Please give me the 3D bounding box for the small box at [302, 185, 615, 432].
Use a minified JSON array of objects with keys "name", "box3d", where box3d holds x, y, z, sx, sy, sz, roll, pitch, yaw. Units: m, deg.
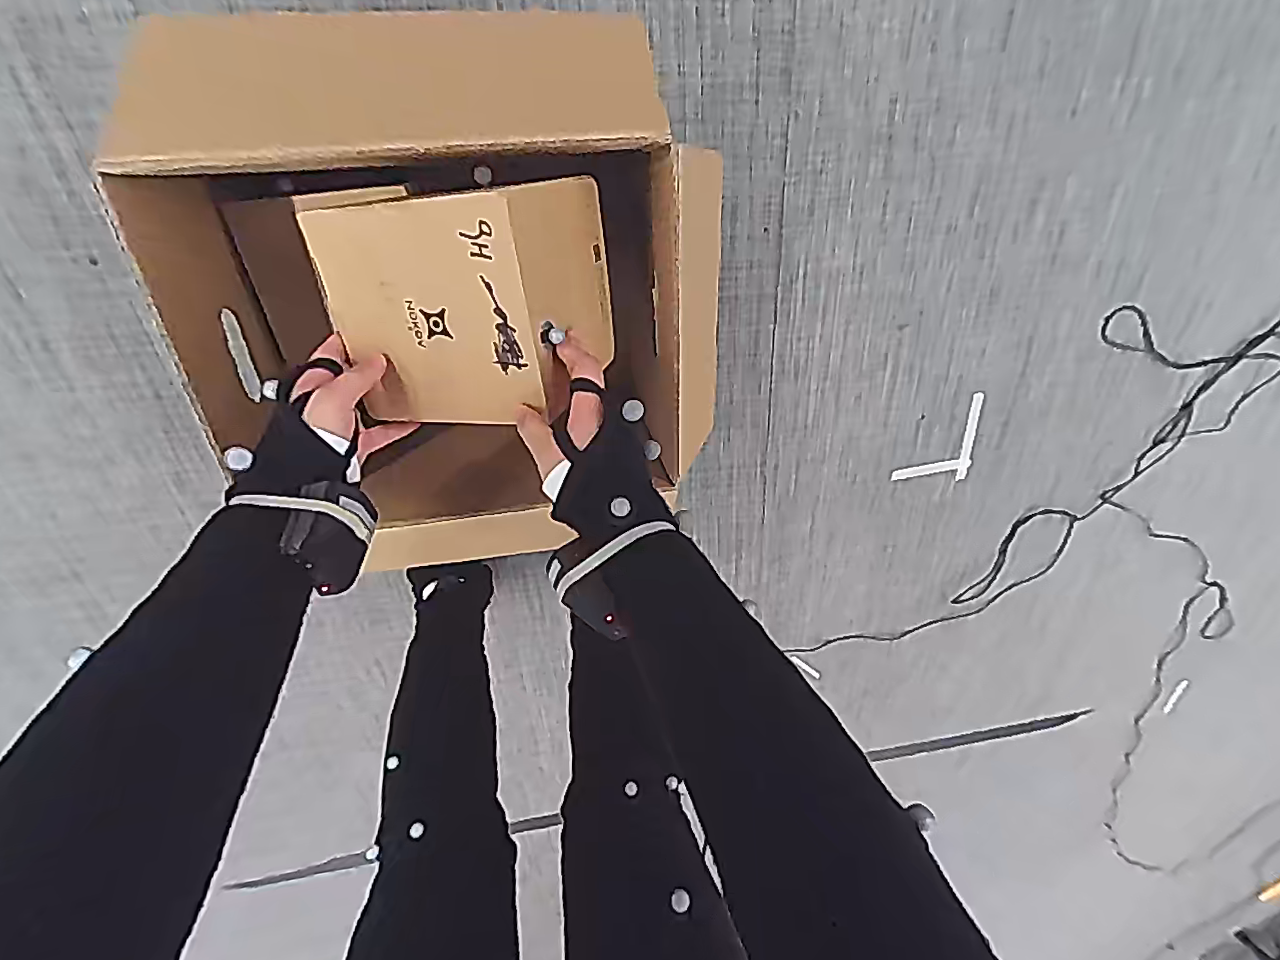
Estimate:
[{"name":"small box","box3d":[-0.138,-0.156,0.478,0.179,0.176,0.168,4,123,17]}]
